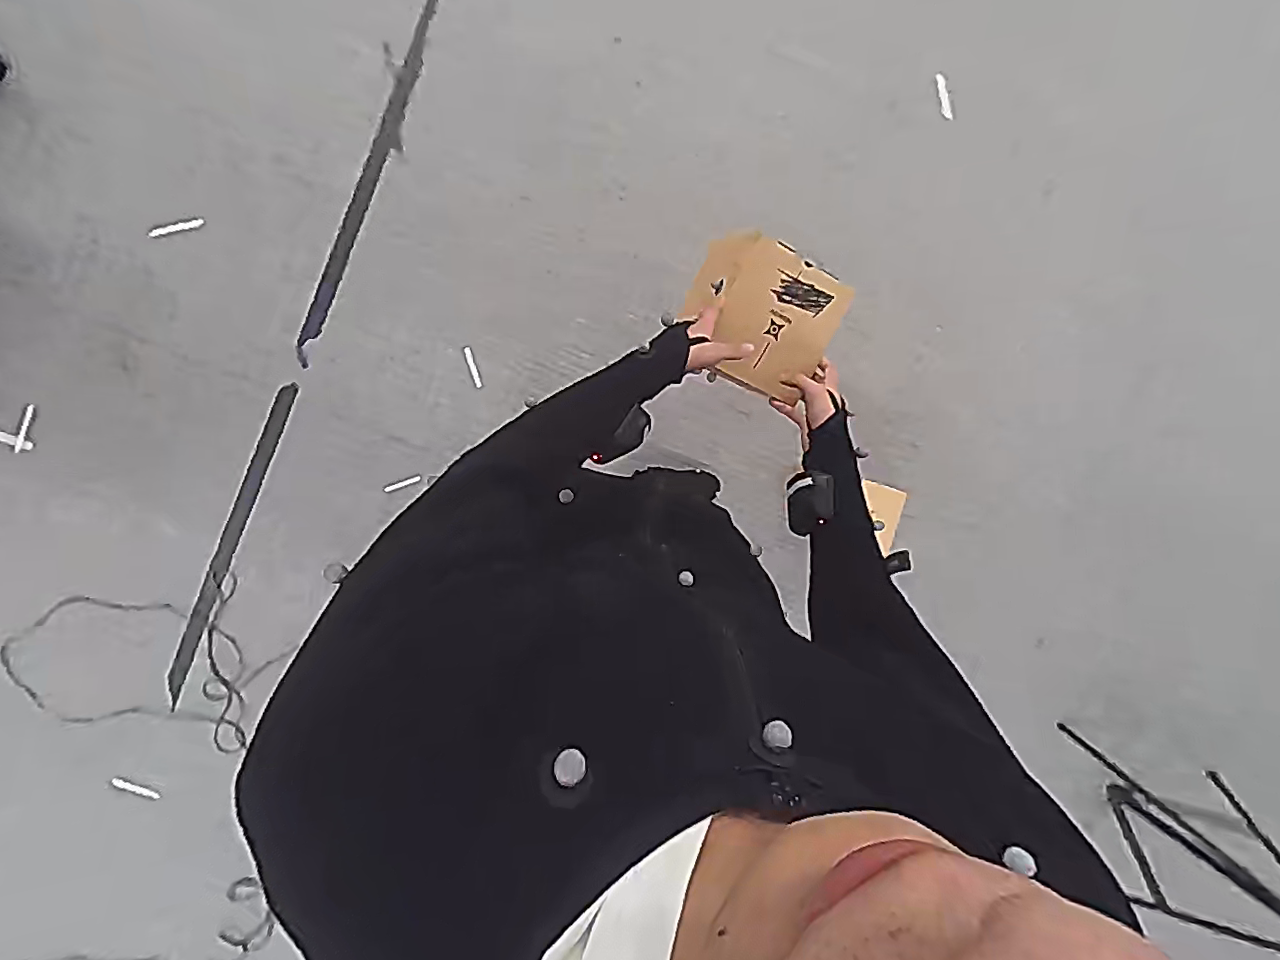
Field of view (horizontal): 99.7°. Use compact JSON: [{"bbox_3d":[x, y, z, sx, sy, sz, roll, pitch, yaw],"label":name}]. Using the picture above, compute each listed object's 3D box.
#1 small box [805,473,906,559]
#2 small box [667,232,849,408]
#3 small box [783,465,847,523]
[{"bbox_3d":[0.563,0.088,1.436,0.168,0.176,0.179,18,94,-6],"label":"small box"},{"bbox_3d":[0.157,-0.230,0.785,0.168,0.176,0.179,22,103,-18],"label":"small box"},{"bbox_3d":[0.553,0.059,1.597,0.179,0.176,0.168,19,94,-6],"label":"small box"}]
